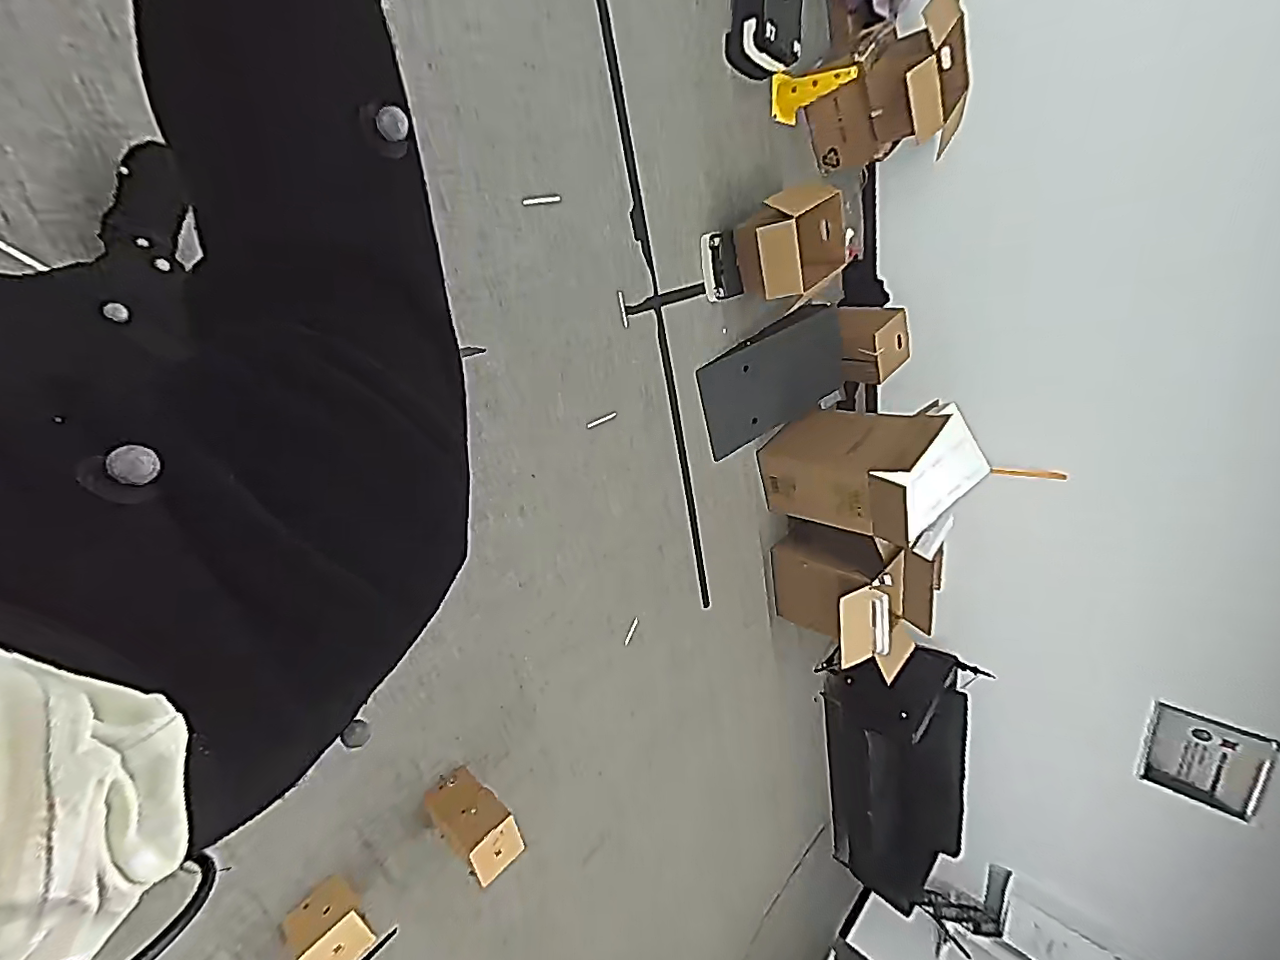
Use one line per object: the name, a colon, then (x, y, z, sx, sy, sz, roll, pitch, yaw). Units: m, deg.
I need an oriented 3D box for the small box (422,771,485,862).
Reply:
small box: (-0.634, 1.170, 1.897, 0.168, 0.176, 0.179, -29, 119, -39)

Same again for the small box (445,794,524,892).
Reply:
small box: (-0.514, 1.190, 1.787, 0.168, 0.176, 0.179, -30, 119, -39)

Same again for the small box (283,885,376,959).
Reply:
small box: (-0.942, 1.381, 1.634, 0.168, 0.176, 0.179, -34, 123, -35)
